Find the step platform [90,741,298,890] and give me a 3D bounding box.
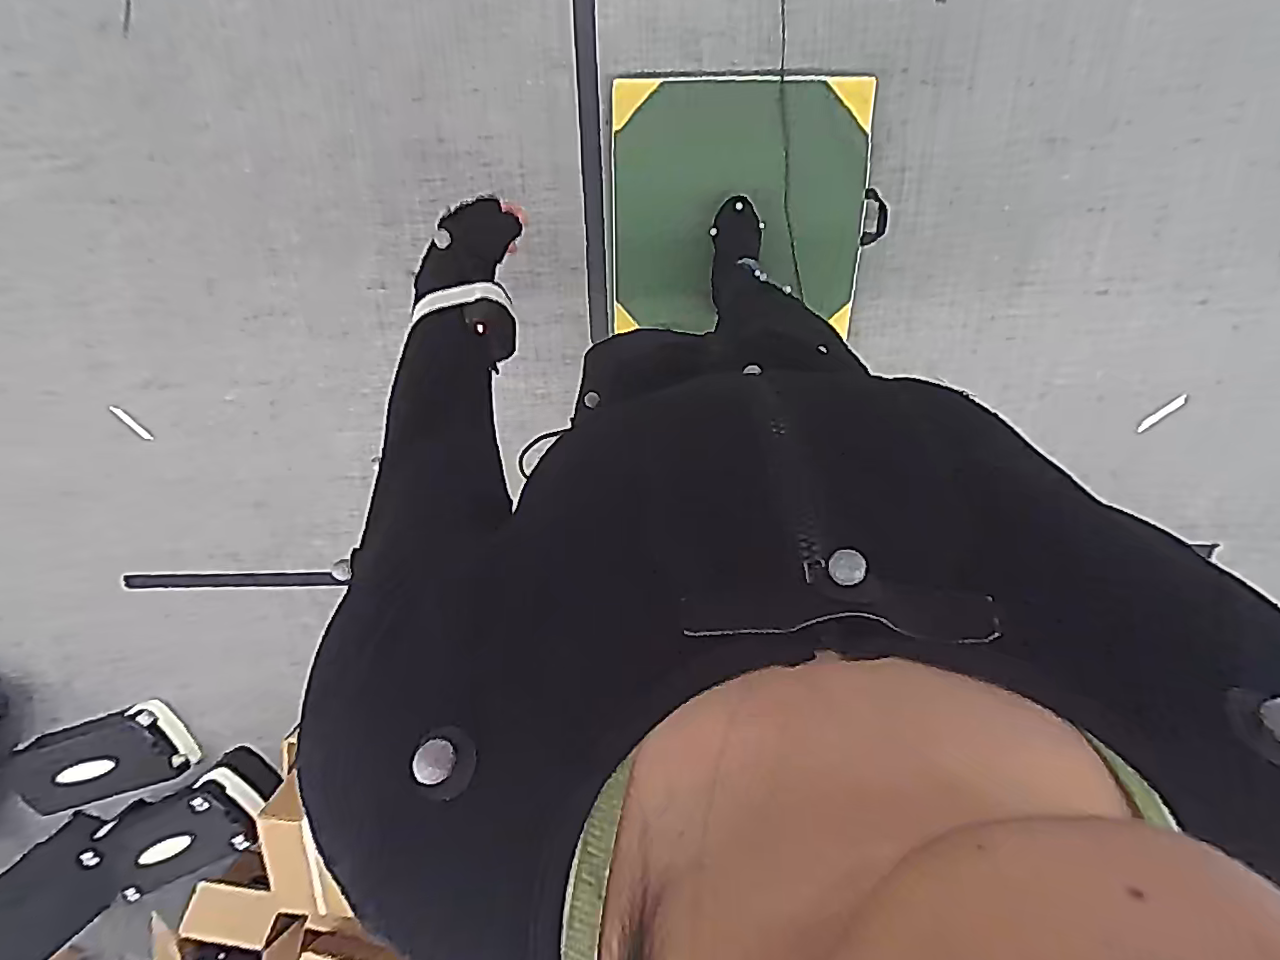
[{"bbox_3d":[-1.628,1.230,1.976,0.684,0.204,0.286,-29,105,11],"label":"step platform"}]
